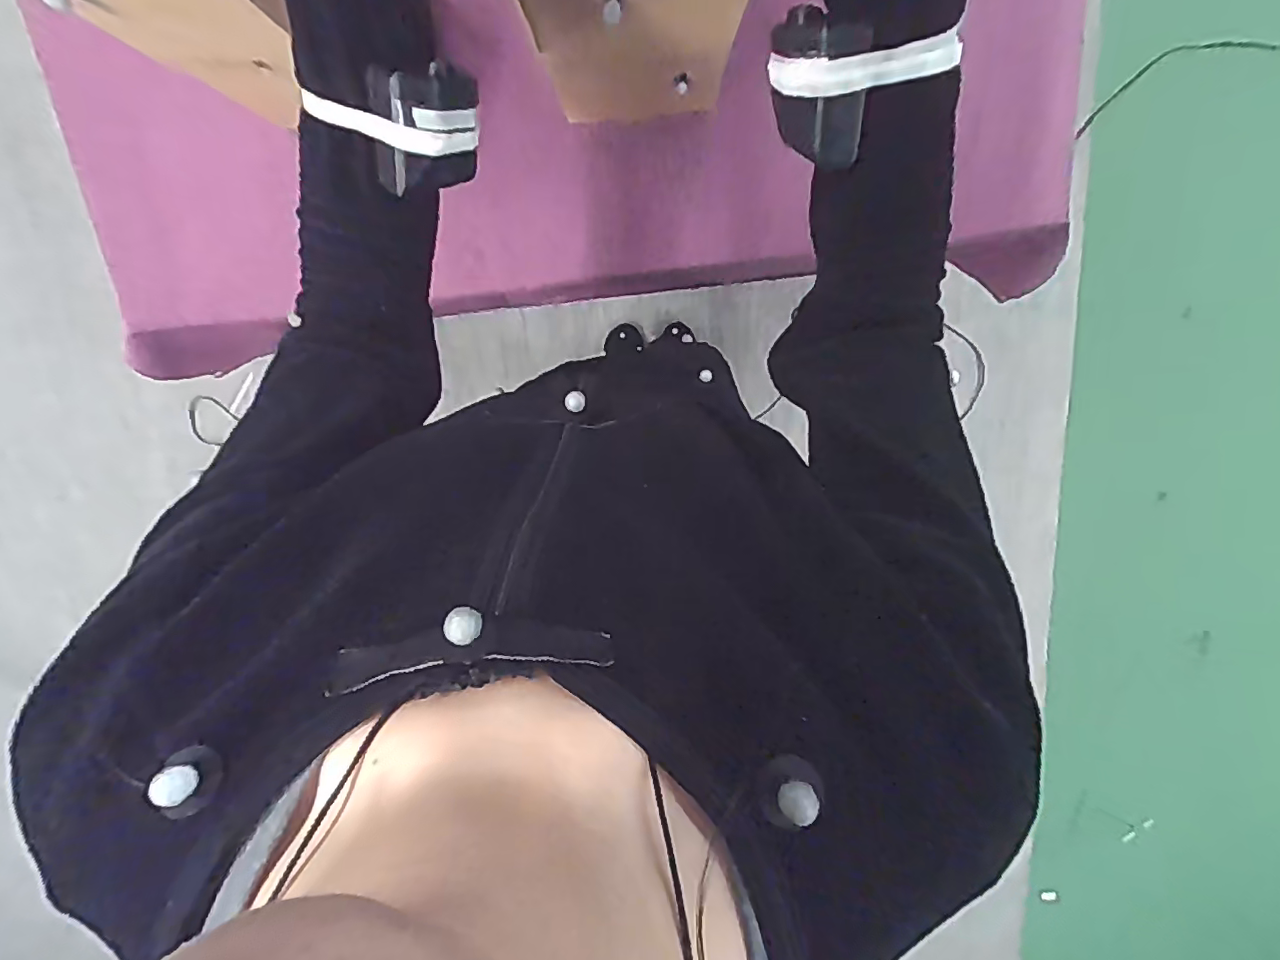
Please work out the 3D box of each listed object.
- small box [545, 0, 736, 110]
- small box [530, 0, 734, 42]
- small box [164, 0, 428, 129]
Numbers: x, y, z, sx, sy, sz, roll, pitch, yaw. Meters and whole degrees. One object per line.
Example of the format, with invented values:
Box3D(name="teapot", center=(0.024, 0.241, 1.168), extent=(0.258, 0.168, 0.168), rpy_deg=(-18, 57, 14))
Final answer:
Box3D(name="small box", center=(-0.005, -0.506, 0.549), extent=(0.179, 0.176, 0.168), rpy_deg=(-4, 104, 2))
Box3D(name="small box", center=(-0.007, -0.450, 0.390), extent=(0.179, 0.176, 0.168), rpy_deg=(-2, 109, 1))
Box3D(name="small box", center=(-0.338, -0.487, 0.555), extent=(0.179, 0.176, 0.168), rpy_deg=(5, 104, -1))
